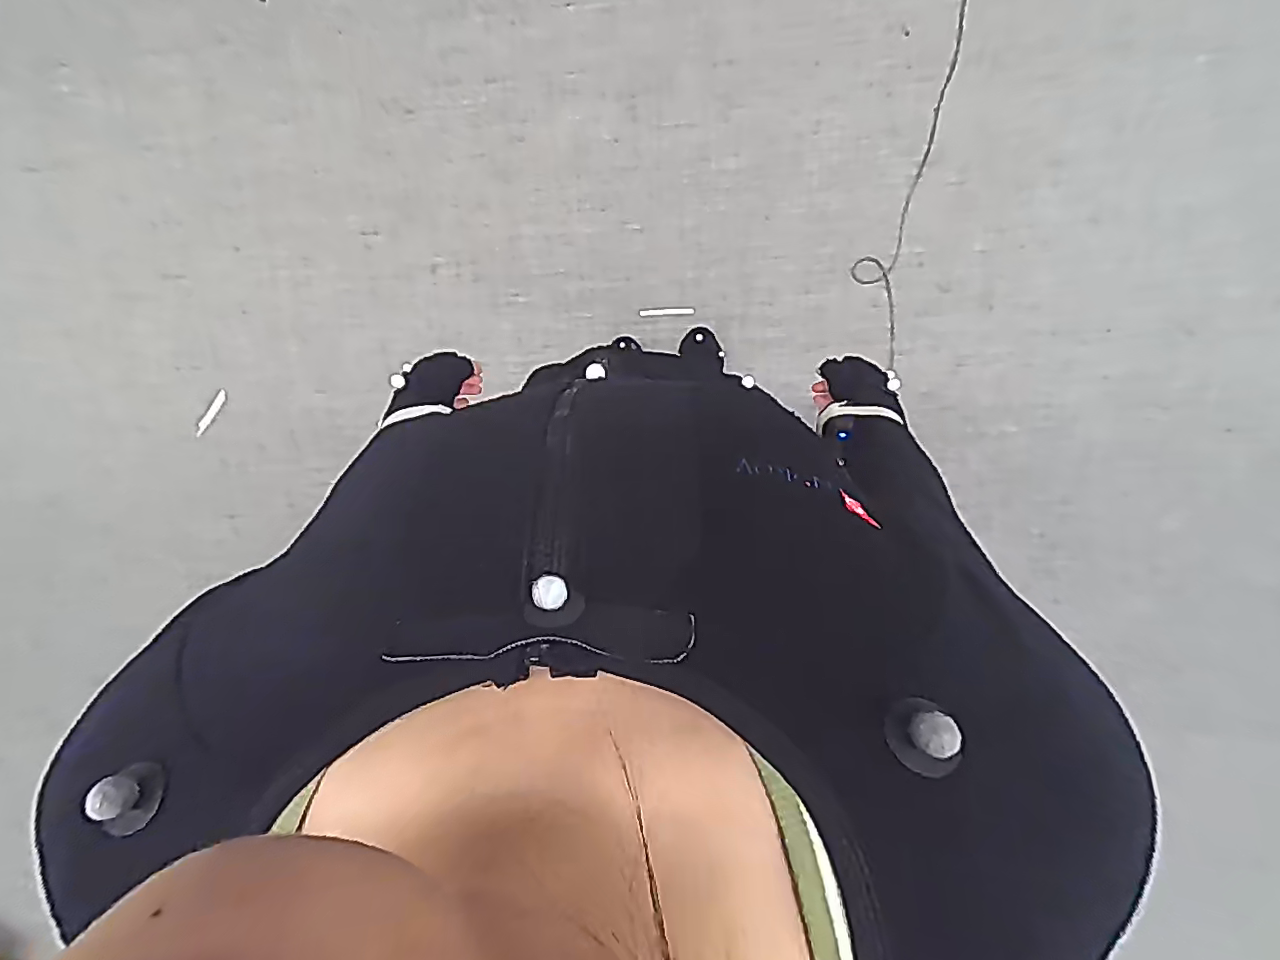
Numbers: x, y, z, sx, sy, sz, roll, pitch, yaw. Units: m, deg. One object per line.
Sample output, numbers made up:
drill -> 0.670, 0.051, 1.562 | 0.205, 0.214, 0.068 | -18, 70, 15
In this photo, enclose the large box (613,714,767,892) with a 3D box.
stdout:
large box -> 0.138, 0.941, 1.610 | 0.408, 0.320, 0.320 | 6, 106, 3
